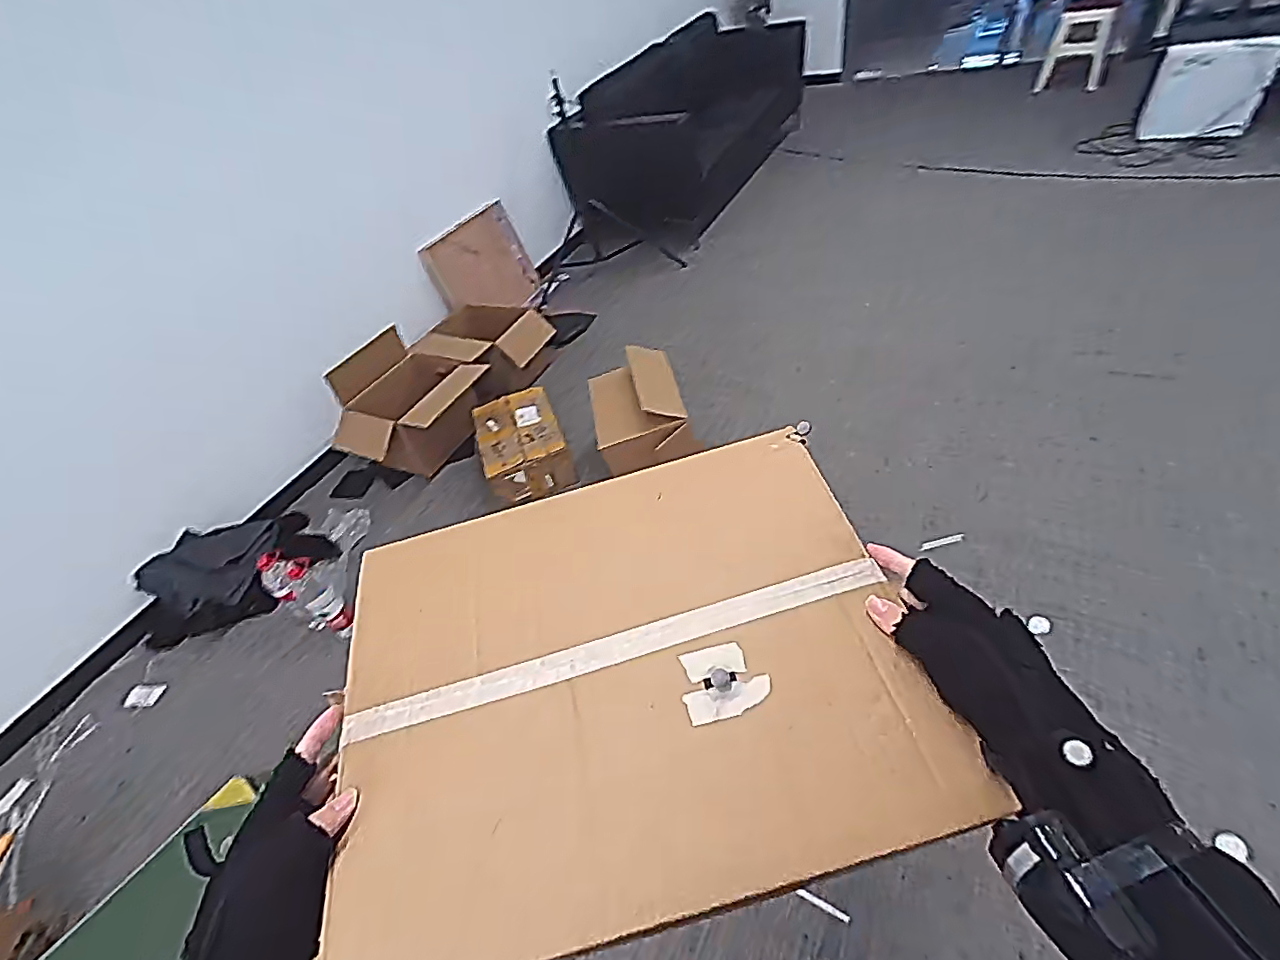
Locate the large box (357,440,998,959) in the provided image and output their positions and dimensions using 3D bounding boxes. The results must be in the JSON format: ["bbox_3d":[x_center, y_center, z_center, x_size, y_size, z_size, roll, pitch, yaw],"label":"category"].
[{"bbox_3d":[0.013,0.221,0.523,0.408,0.320,0.320,-16,52,-2],"label":"large box"}]
